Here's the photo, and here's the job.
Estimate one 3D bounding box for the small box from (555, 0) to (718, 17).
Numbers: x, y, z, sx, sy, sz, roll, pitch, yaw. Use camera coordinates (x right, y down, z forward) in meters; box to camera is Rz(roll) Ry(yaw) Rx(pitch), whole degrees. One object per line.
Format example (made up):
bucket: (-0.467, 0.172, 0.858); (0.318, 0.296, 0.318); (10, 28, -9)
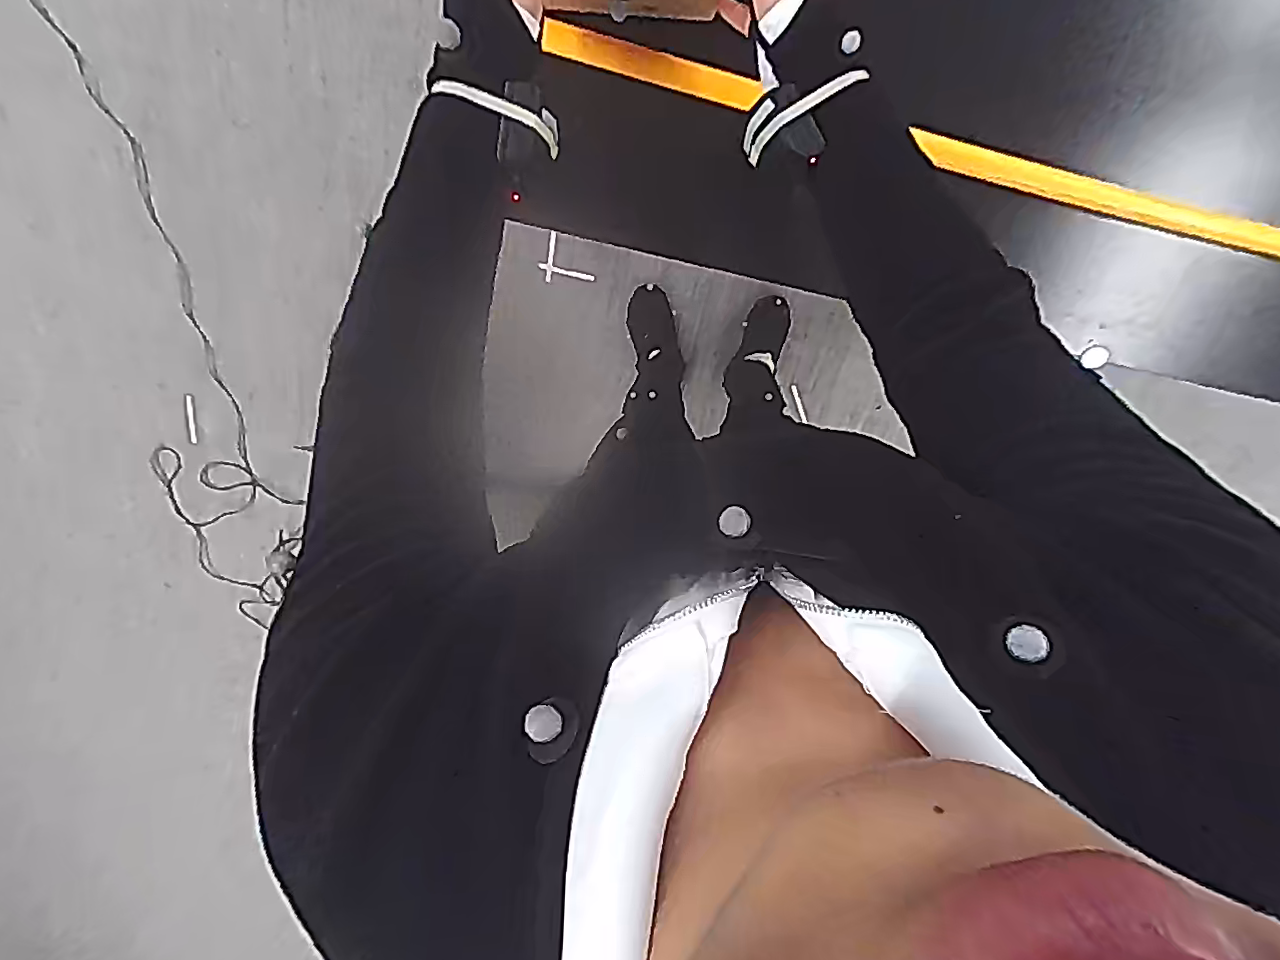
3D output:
small box: (-0.003, -0.482, 0.395); (0.168, 0.176, 0.179); (2, 116, -3)
